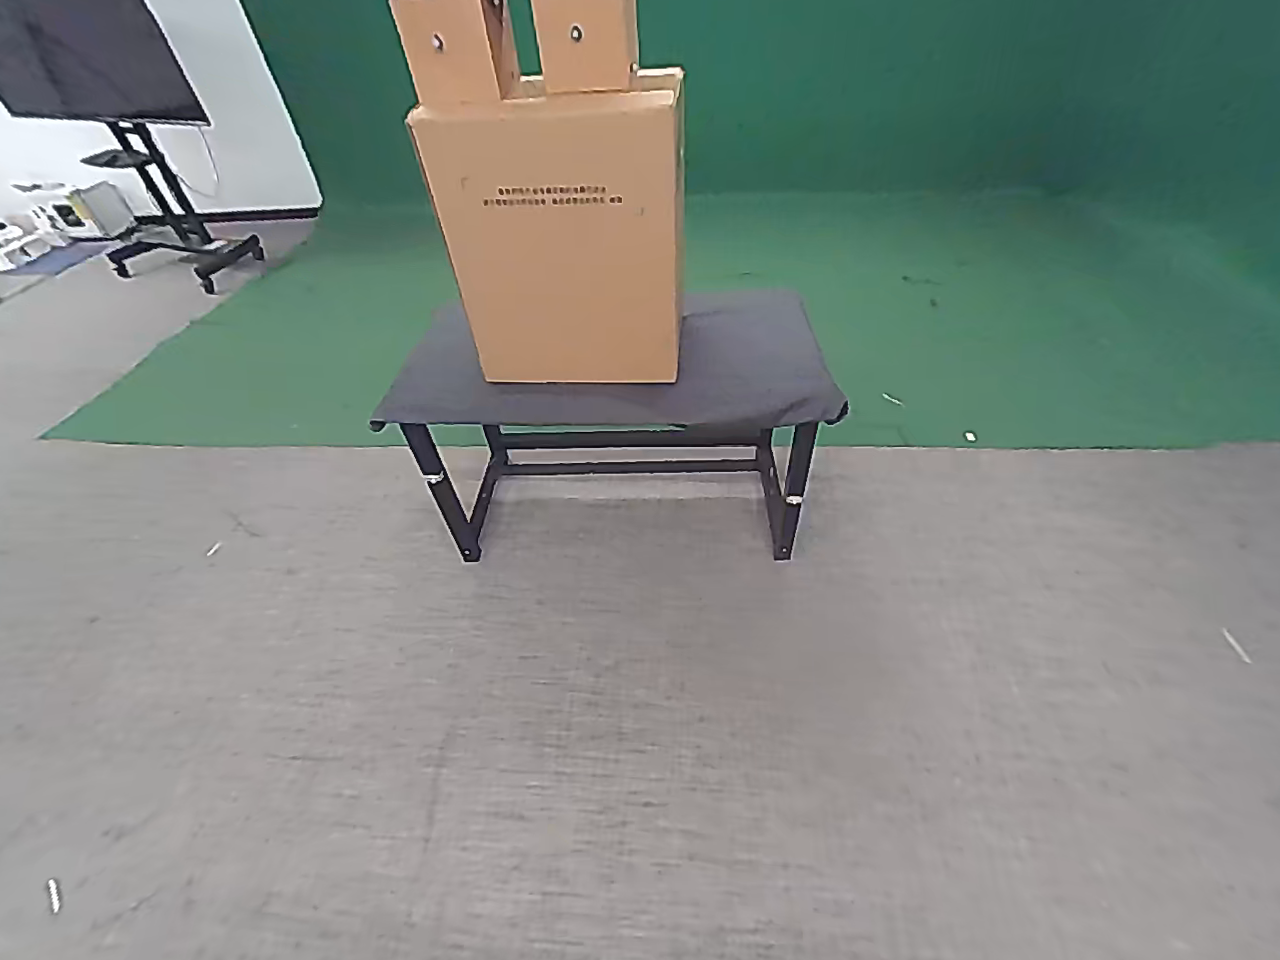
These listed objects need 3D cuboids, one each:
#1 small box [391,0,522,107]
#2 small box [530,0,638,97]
[{"bbox_3d":[-0.359,-0.876,1.095,0.179,0.176,0.168,2,49,7],"label":"small box"},{"bbox_3d":[-0.102,-0.889,1.080,0.179,0.176,0.168,2,49,8],"label":"small box"}]
